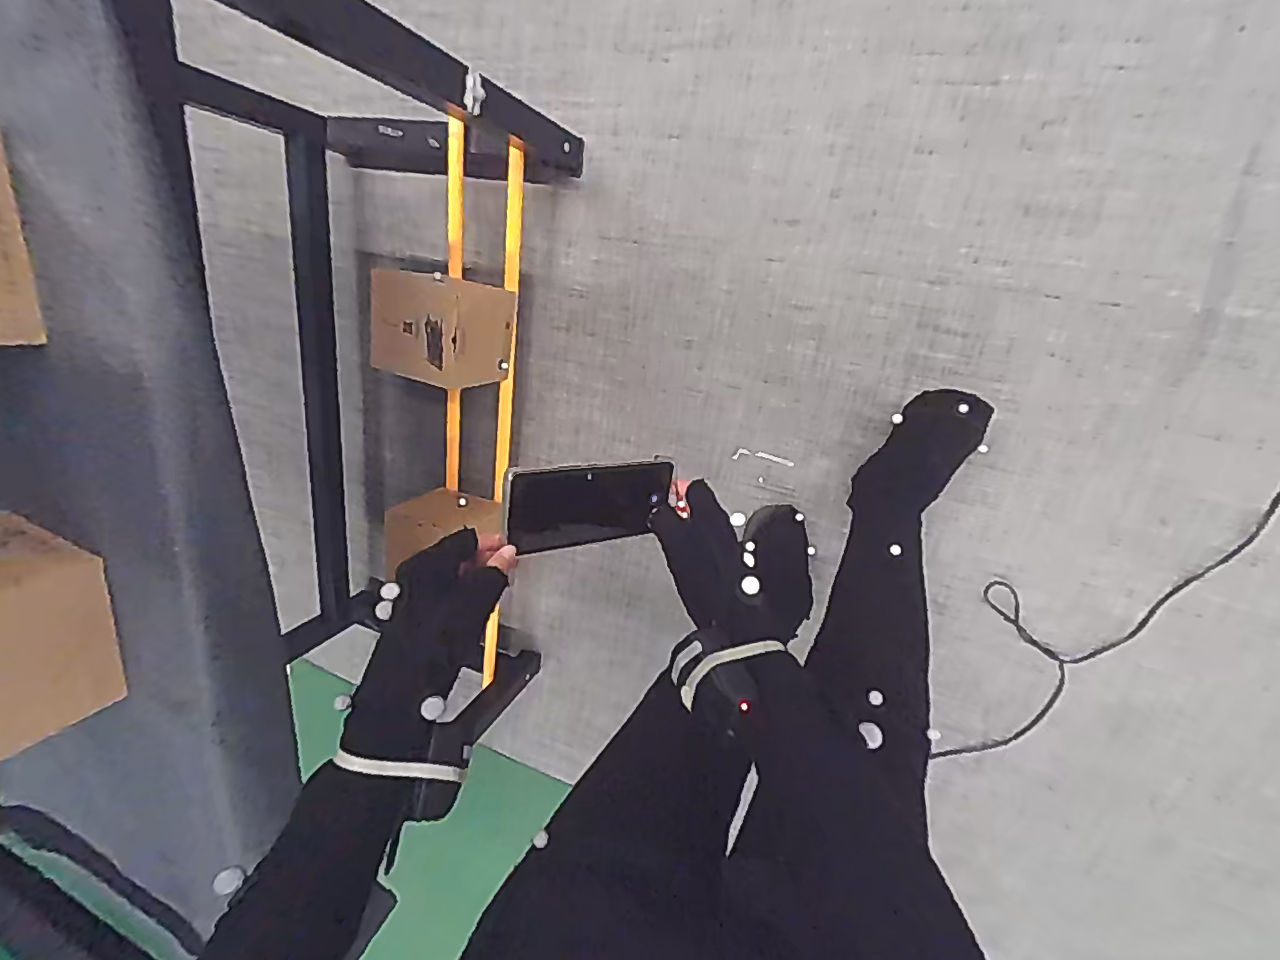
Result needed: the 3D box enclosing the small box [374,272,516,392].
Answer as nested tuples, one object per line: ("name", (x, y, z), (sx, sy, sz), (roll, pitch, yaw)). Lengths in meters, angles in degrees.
("small box", (-0.343, -0.267, 0.967), (0.179, 0.176, 0.168), (18, 111, 16))
